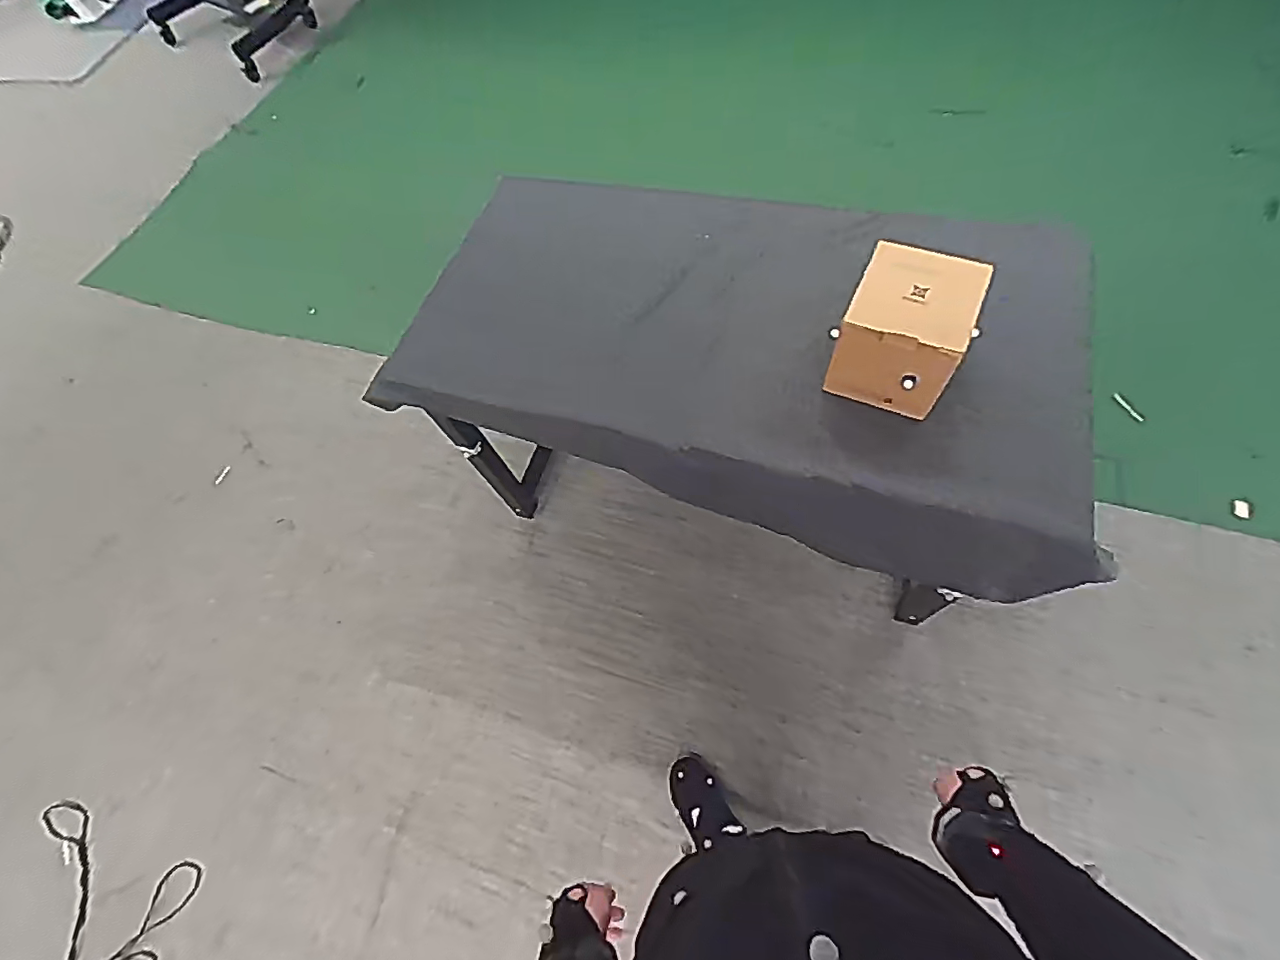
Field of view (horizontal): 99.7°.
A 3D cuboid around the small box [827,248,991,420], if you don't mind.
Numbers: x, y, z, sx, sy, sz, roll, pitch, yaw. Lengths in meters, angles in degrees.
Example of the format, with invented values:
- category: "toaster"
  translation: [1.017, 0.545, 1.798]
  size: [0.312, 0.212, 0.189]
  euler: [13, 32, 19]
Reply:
- category: "small box"
  translation: [0.410, -0.223, 0.850]
  size: [0.168, 0.176, 0.179]
  euler: [23, 67, 17]
